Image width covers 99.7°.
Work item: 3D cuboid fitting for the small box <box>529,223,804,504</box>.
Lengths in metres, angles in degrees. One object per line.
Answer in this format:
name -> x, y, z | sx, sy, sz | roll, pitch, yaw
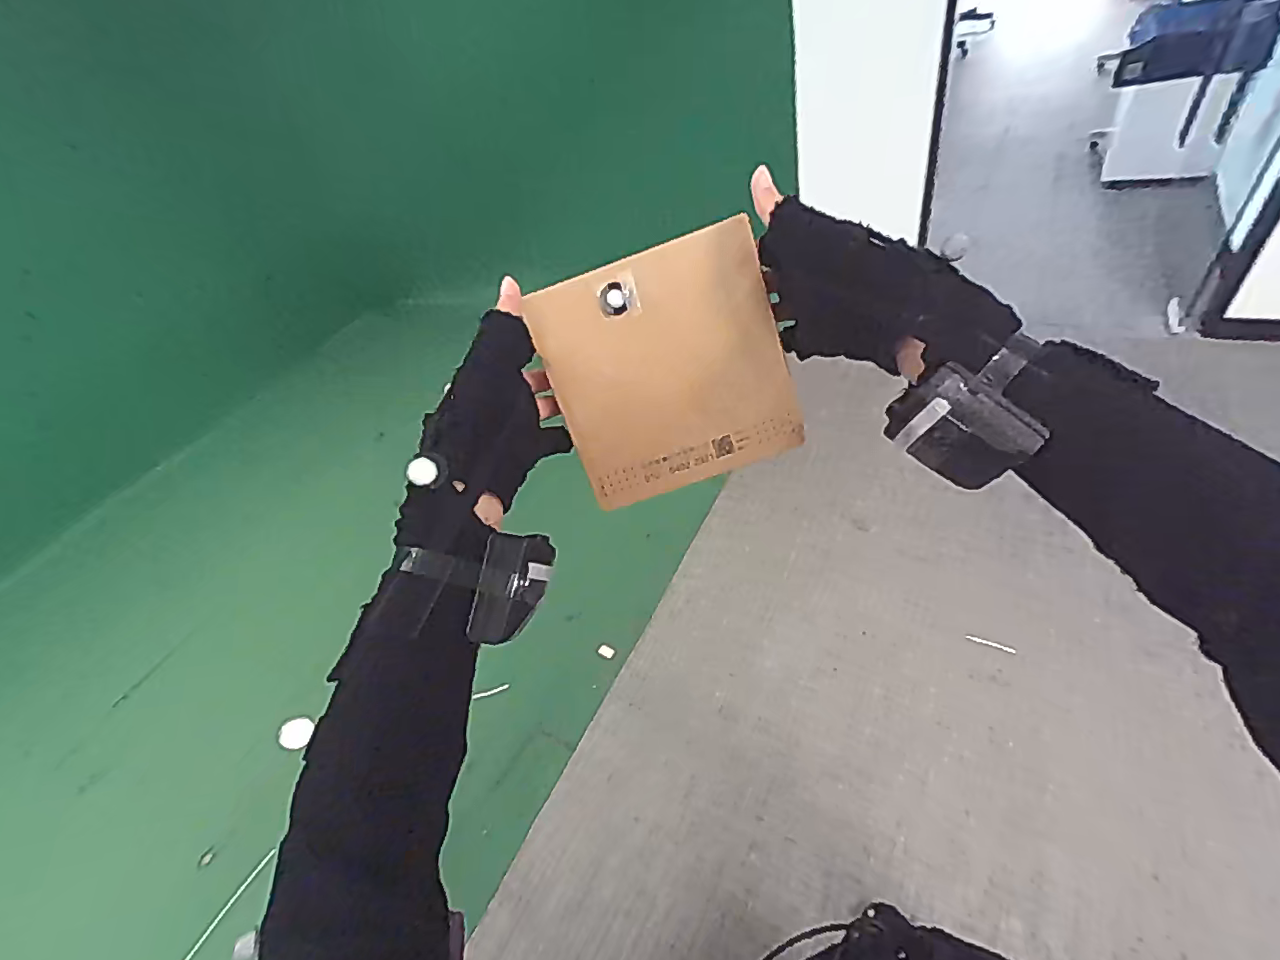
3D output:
small box -> 0.025, -0.095, 0.472 | 0.168, 0.176, 0.179 | -19, 15, 5
